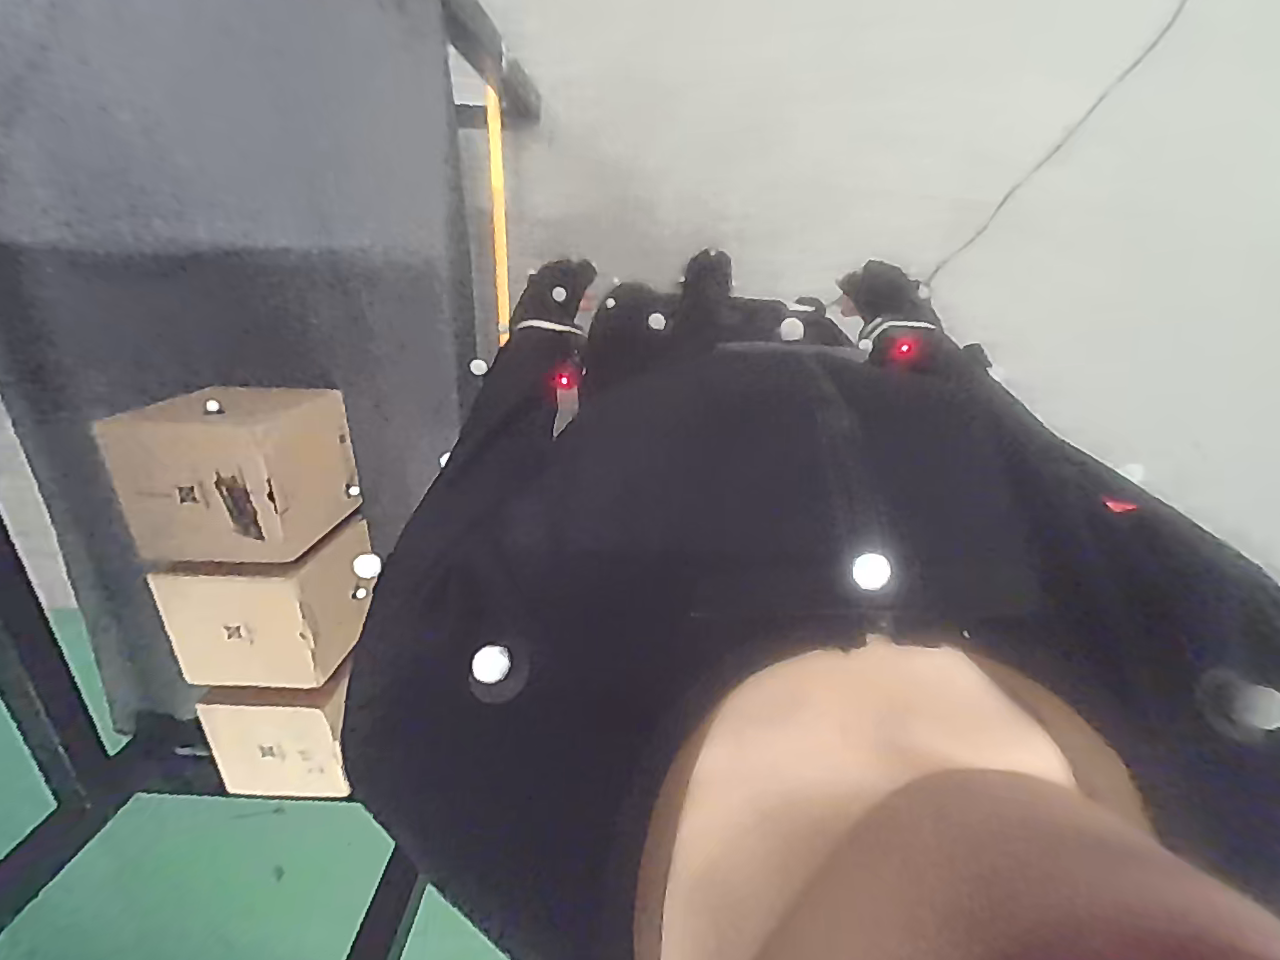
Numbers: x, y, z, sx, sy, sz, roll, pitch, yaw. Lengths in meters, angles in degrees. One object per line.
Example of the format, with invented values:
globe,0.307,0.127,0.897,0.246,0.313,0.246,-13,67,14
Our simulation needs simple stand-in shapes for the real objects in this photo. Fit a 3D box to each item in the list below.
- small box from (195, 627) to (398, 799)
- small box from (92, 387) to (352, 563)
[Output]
small box,-0.488,0.333,0.797,0.179,0.176,0.168,1,112,2
small box,-0.479,-0.015,0.659,0.179,0.176,0.168,2,112,2
